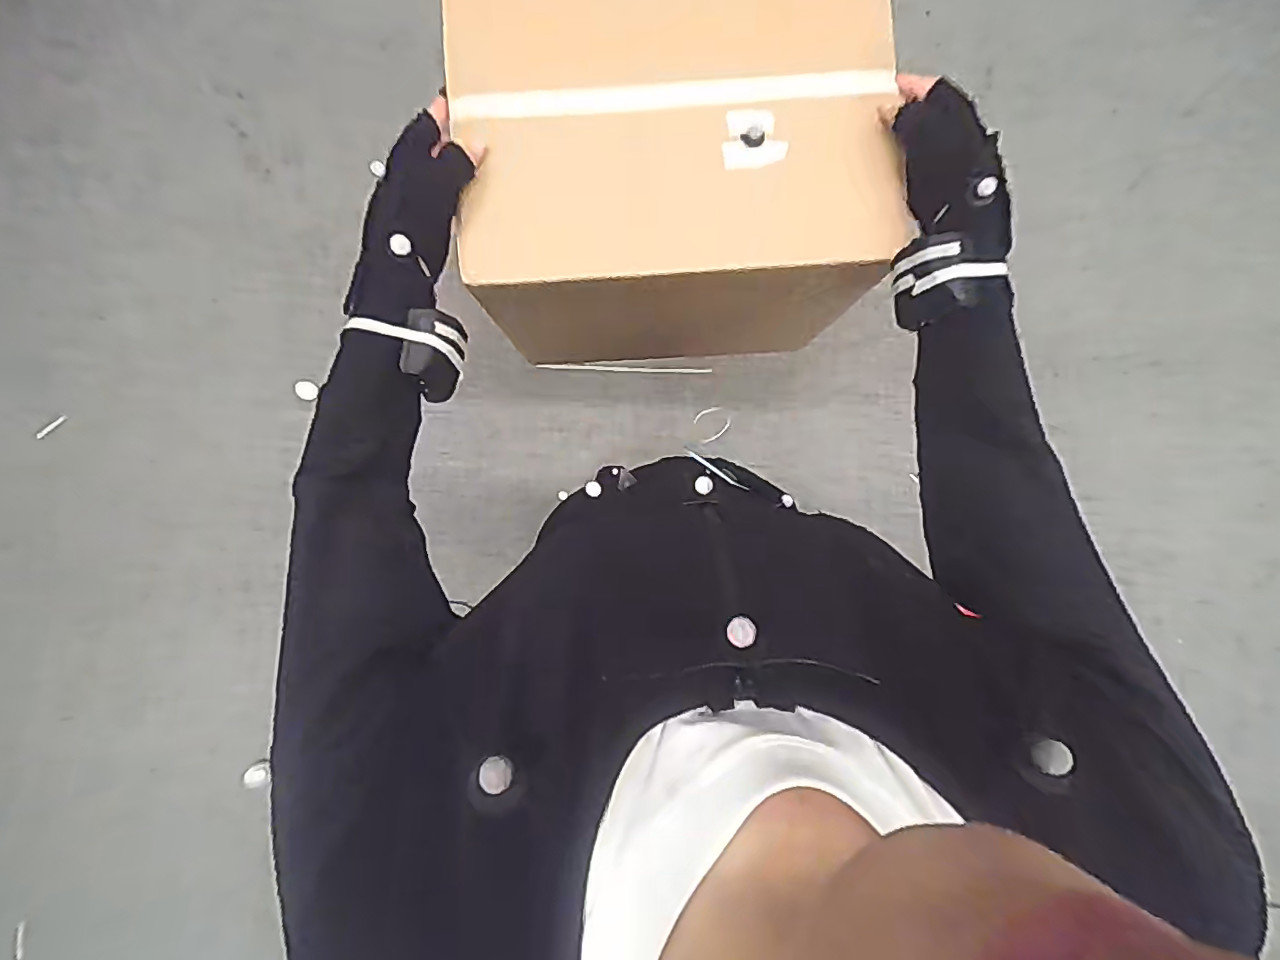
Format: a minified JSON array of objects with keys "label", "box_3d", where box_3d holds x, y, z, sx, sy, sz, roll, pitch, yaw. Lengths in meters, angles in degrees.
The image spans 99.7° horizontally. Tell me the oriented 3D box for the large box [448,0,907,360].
[{"label":"large box","box_3d":[0.028,-0.344,0.636,0.408,0.320,0.320,-4,88,-1]}]
